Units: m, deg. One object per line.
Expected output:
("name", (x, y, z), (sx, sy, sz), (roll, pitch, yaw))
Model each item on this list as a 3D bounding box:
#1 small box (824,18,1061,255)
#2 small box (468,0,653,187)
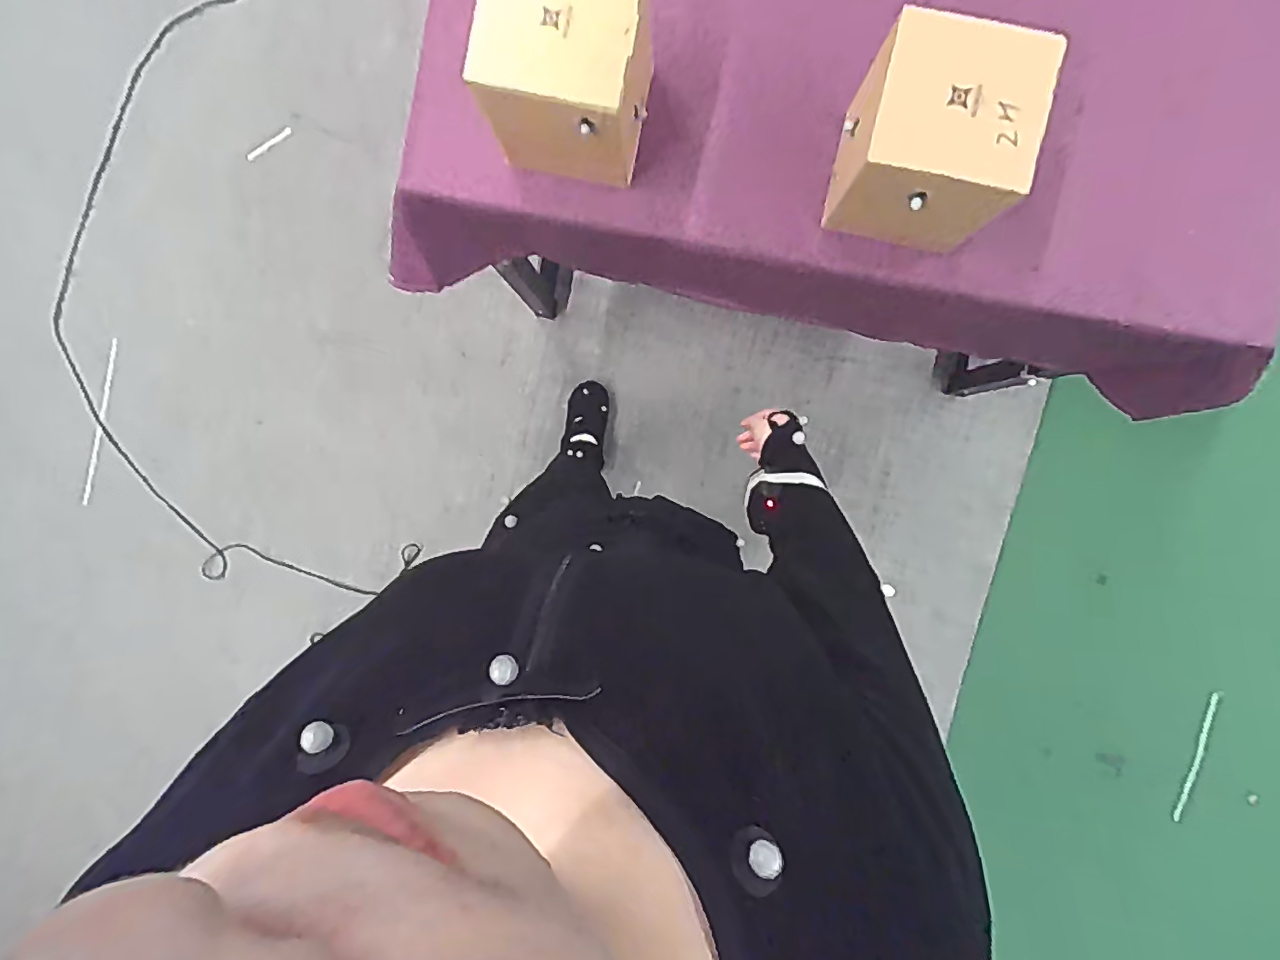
("small box", (0.344, -0.395, 0.654), (0.179, 0.176, 0.168), (14, 93, 1))
("small box", (-0.086, -0.491, 0.663), (0.179, 0.176, 0.168), (12, 92, 0))
